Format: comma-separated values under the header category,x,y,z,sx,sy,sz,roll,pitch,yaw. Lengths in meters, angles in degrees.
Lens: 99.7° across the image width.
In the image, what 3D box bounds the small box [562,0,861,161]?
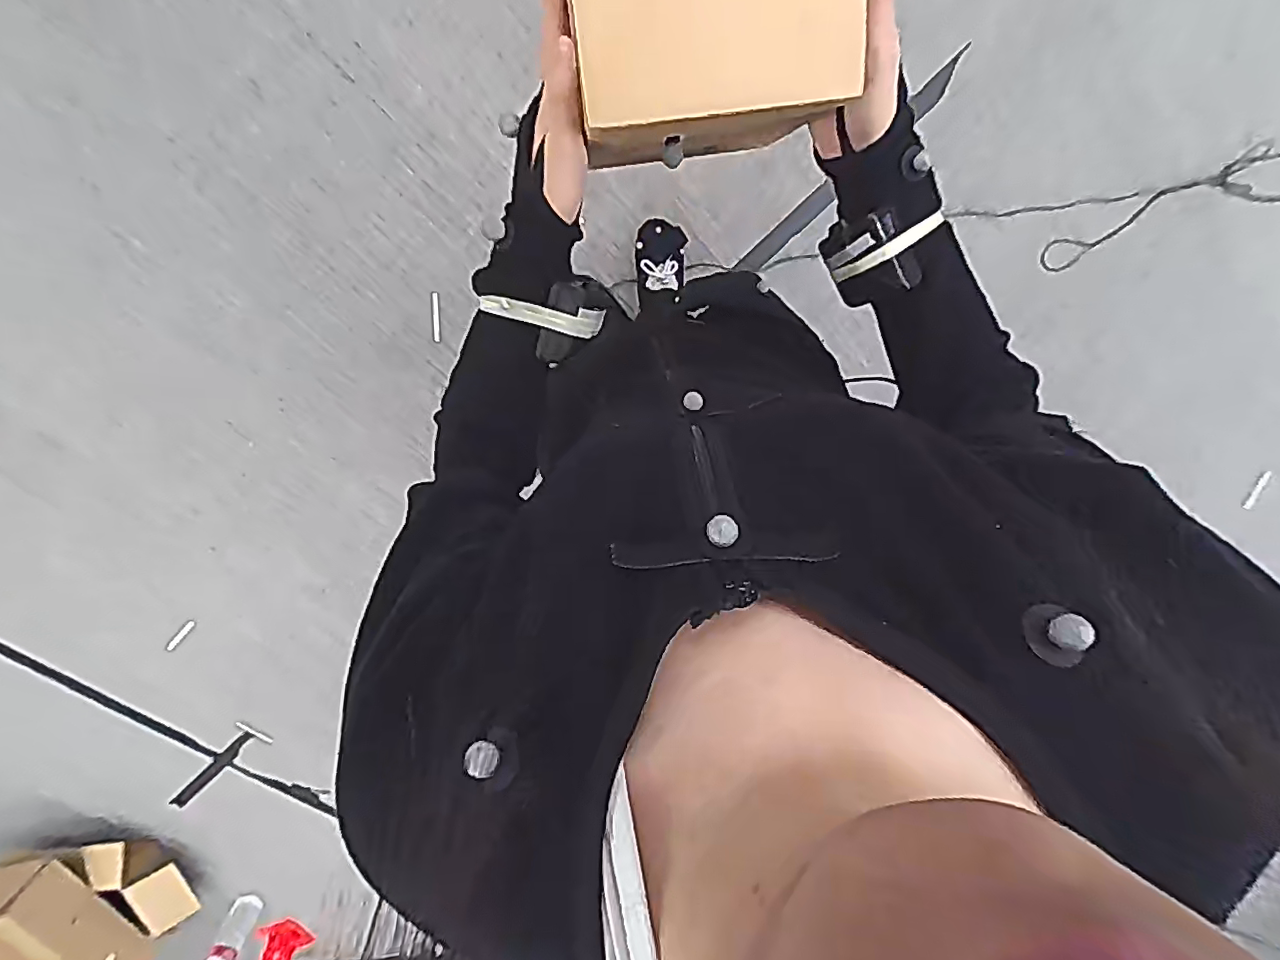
category,x,y,z,sx,sy,sz,roll,pitch,yaw
small box,0.032,-0.325,0.357,0.168,0.176,0.179,-9,112,-2
